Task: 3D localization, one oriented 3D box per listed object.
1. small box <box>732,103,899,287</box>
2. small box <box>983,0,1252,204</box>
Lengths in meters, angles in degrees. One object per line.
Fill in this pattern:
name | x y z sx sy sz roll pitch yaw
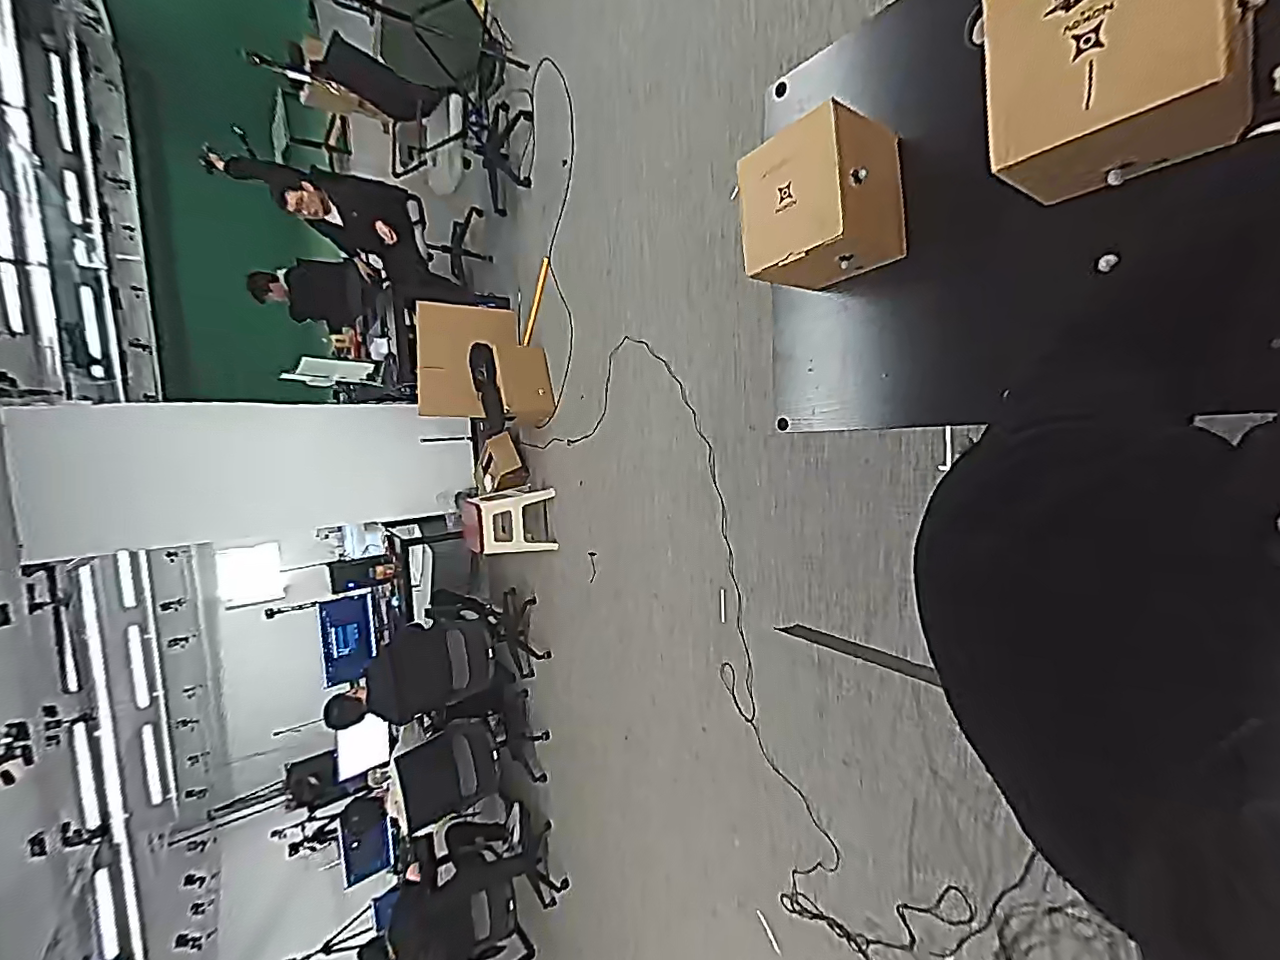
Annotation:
small box | 0.257 -0.394 0.789 0.168 0.176 0.179 -3 92 52
small box | 0.455 -0.398 0.522 0.168 0.176 0.179 2 97 53
